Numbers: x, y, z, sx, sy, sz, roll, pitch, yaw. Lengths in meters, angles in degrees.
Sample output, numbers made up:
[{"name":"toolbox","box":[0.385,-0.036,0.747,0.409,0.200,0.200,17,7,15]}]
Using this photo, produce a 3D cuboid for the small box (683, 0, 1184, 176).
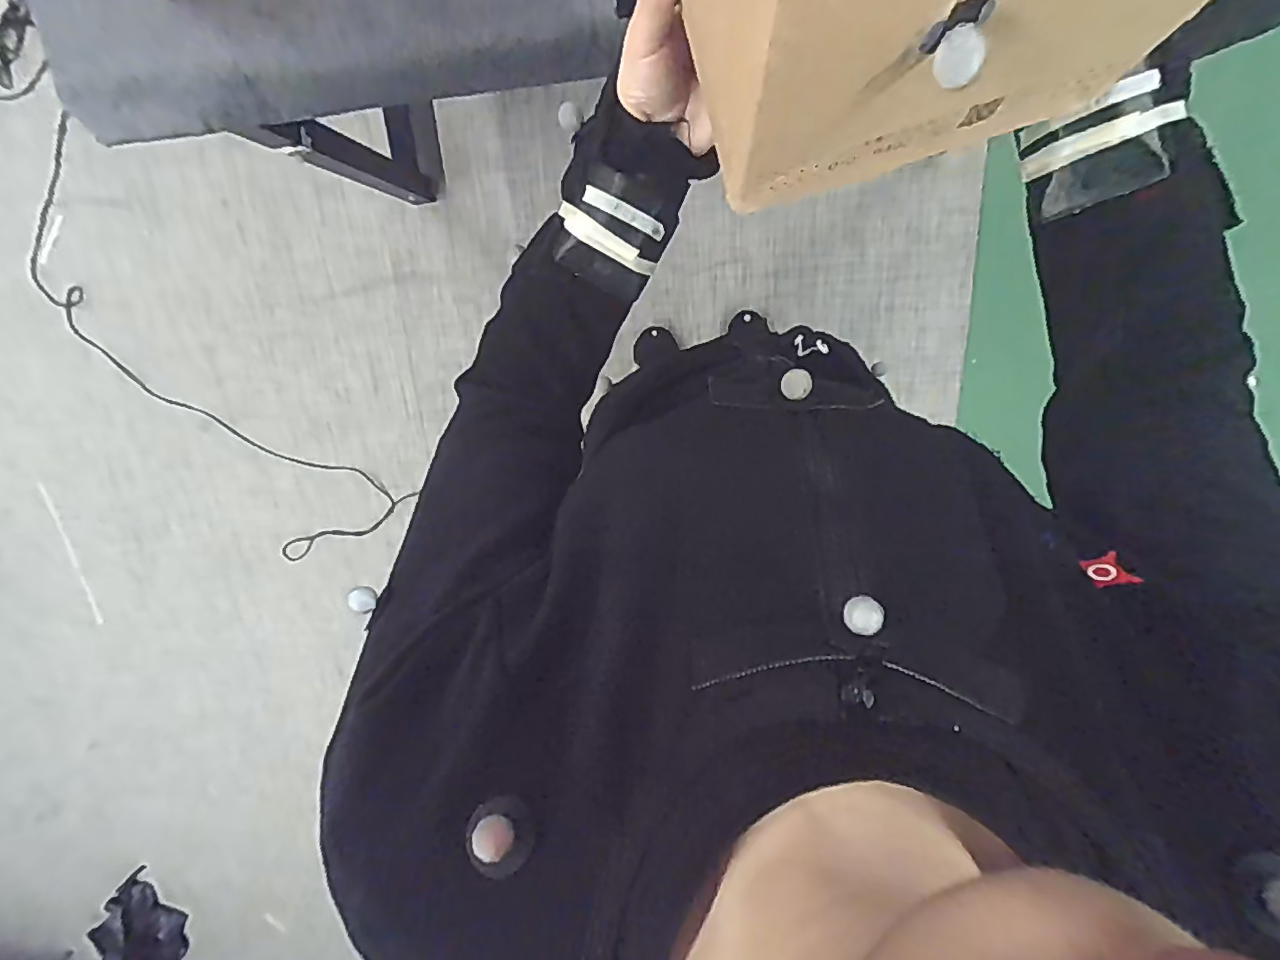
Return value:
[{"name":"small box","box":[0.093,-0.226,0.165,0.168,0.176,0.179,-15,92,7]}]
